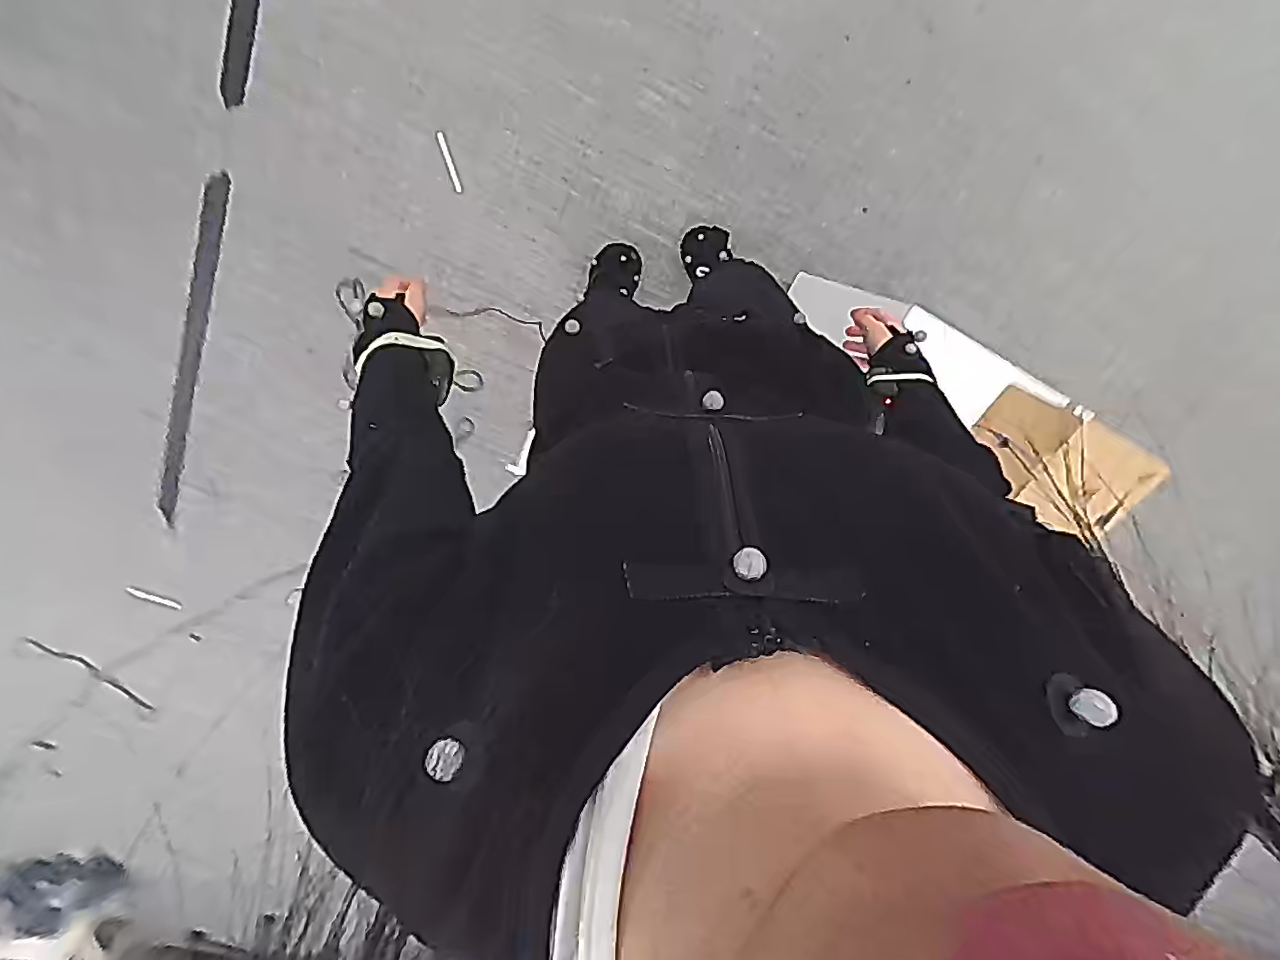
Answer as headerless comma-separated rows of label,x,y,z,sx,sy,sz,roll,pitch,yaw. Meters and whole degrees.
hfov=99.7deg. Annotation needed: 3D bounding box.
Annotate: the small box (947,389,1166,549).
small box,0.636,-0.027,0.853,0.179,0.176,0.168,25,114,-12
